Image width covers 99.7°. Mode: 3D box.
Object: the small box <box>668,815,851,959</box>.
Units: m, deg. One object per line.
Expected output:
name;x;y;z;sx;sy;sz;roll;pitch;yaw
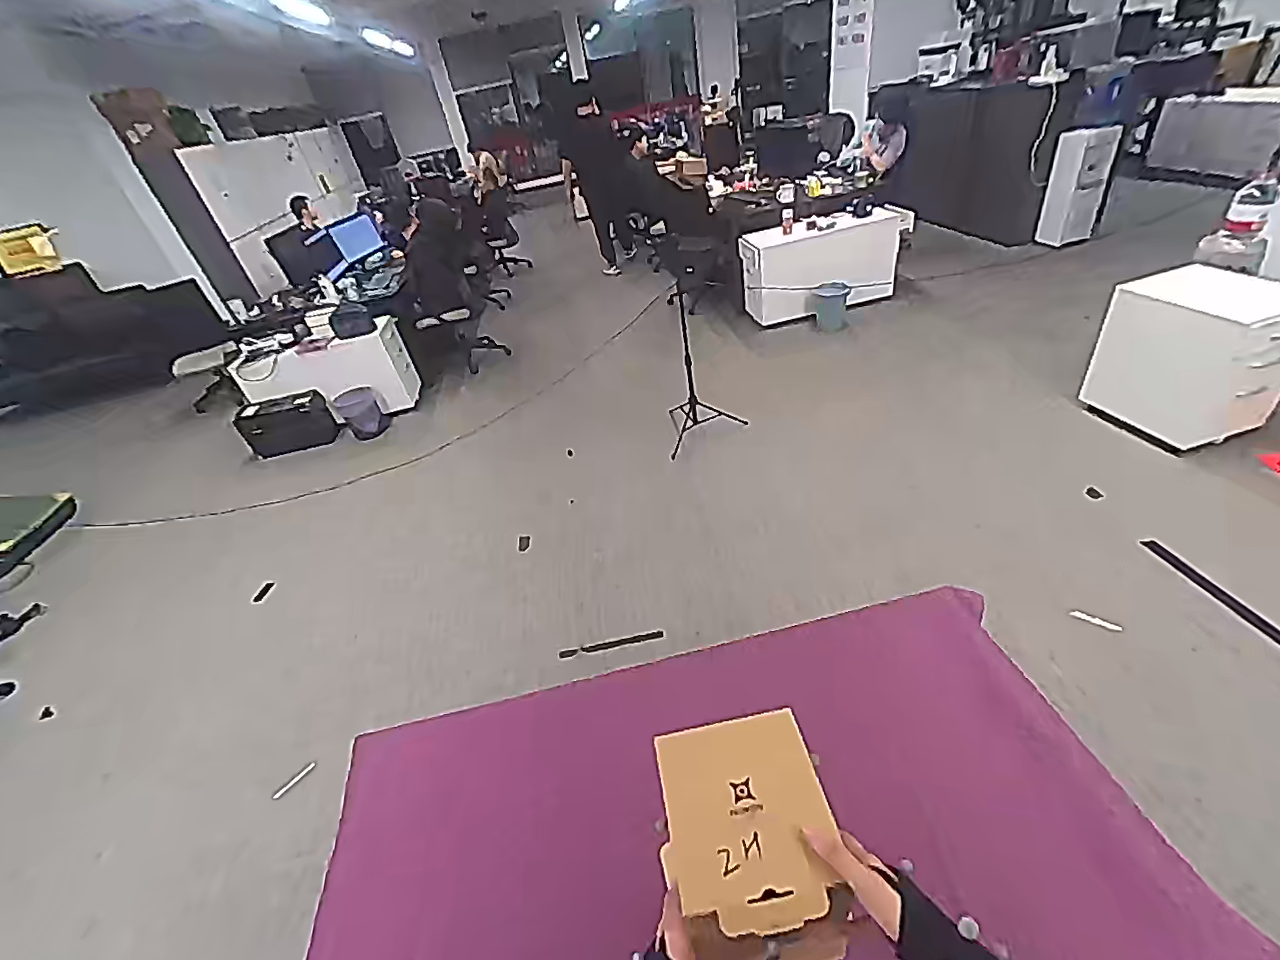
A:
small box;0.150;0.525;0.701;0.179;0.176;0.168;-16;37;-5

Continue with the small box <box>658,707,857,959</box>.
small box;0.122;0.392;0.606;0.168;0.176;0.179;-13;36;-1
